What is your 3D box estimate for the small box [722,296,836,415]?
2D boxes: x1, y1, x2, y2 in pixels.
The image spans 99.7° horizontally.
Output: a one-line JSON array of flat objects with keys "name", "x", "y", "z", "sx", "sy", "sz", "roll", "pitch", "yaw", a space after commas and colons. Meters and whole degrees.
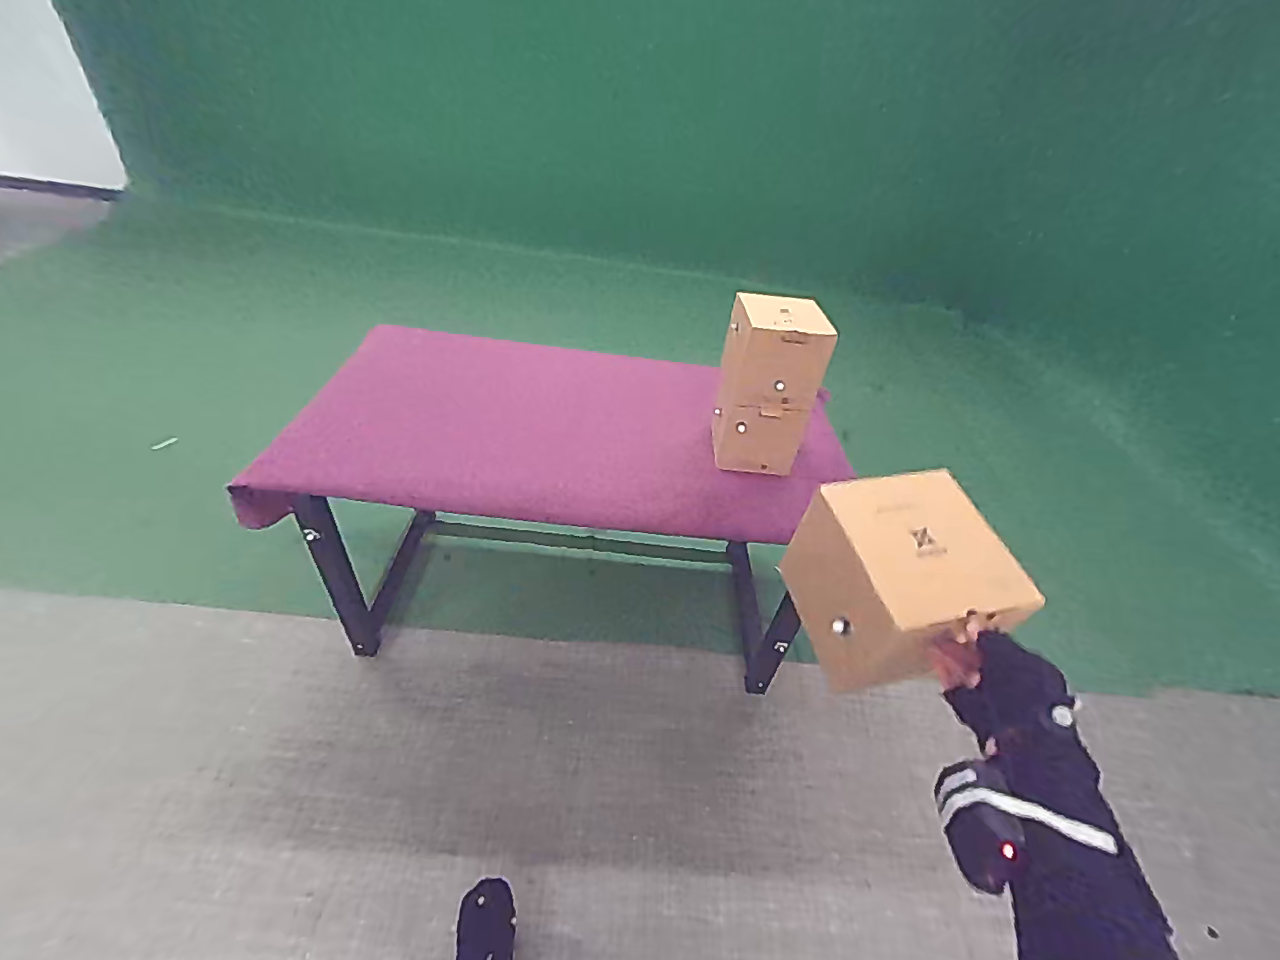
[{"name": "small box", "x": 0.273, "y": -0.256, "z": 1.108, "sx": 0.168, "sy": 0.176, "sz": 0.179, "roll": 4, "pitch": 41, "yaw": -5}]

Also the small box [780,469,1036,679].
[{"name": "small box", "x": 0.283, "y": 0.112, "z": 0.620, "sx": 0.168, "sy": 0.176, "sz": 0.179, "roll": -6, "pitch": 51, "yaw": -12}]
